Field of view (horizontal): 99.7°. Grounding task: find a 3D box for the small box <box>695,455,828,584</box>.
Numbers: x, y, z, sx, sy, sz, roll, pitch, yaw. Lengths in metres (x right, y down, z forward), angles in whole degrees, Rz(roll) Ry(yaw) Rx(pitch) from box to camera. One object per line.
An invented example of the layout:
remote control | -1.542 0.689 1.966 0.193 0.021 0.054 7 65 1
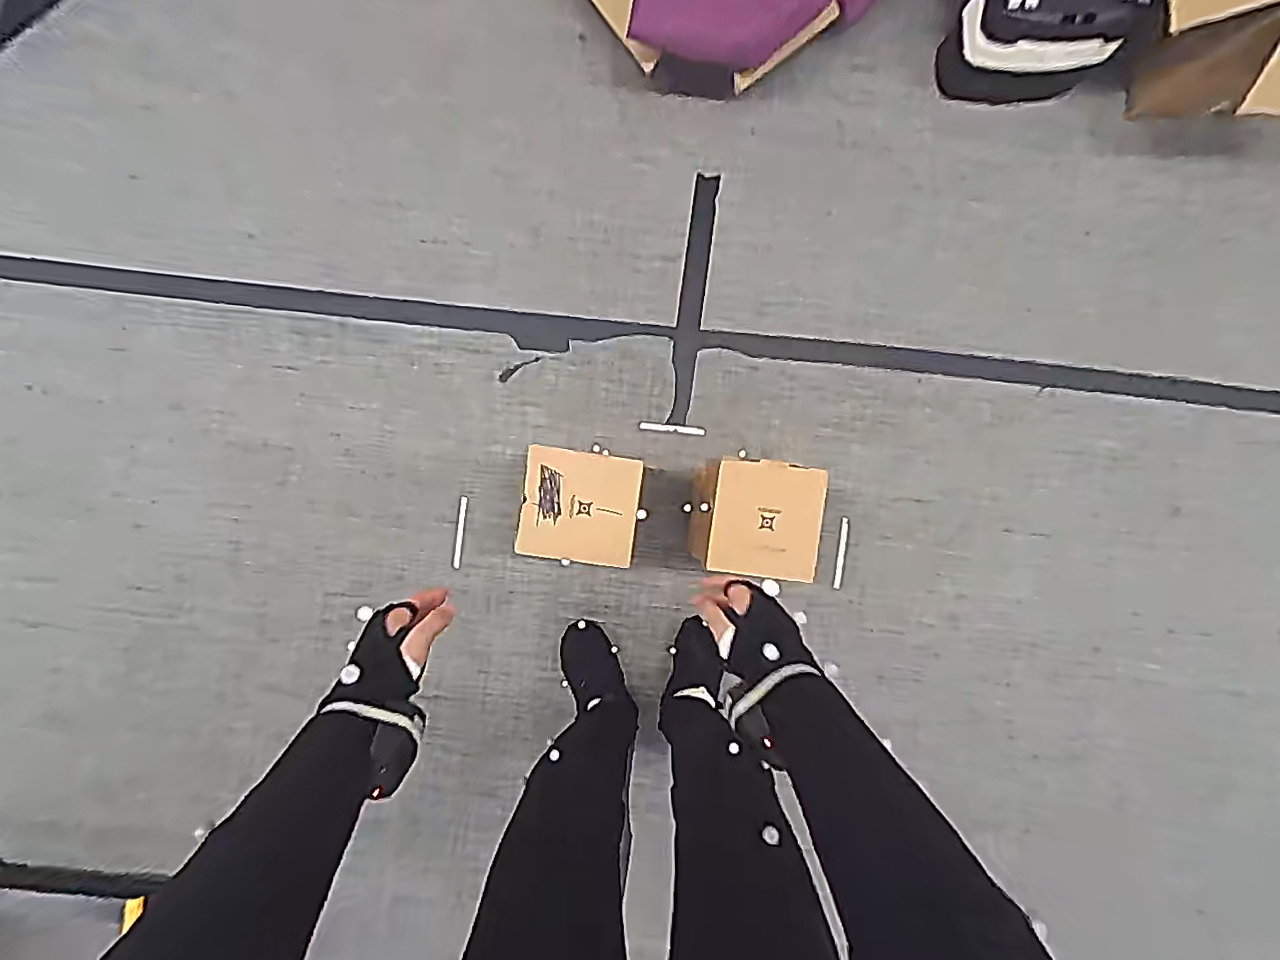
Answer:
small box | 0.187 0.057 0.882 0.168 0.176 0.179 7 92 0

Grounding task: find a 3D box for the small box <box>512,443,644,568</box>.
small box | -0.093 0.038 0.875 0.179 0.176 0.168 8 91 -1

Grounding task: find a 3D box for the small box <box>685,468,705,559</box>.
small box | 0.189 0.065 1.045 0.179 0.176 0.168 6 91 -1
